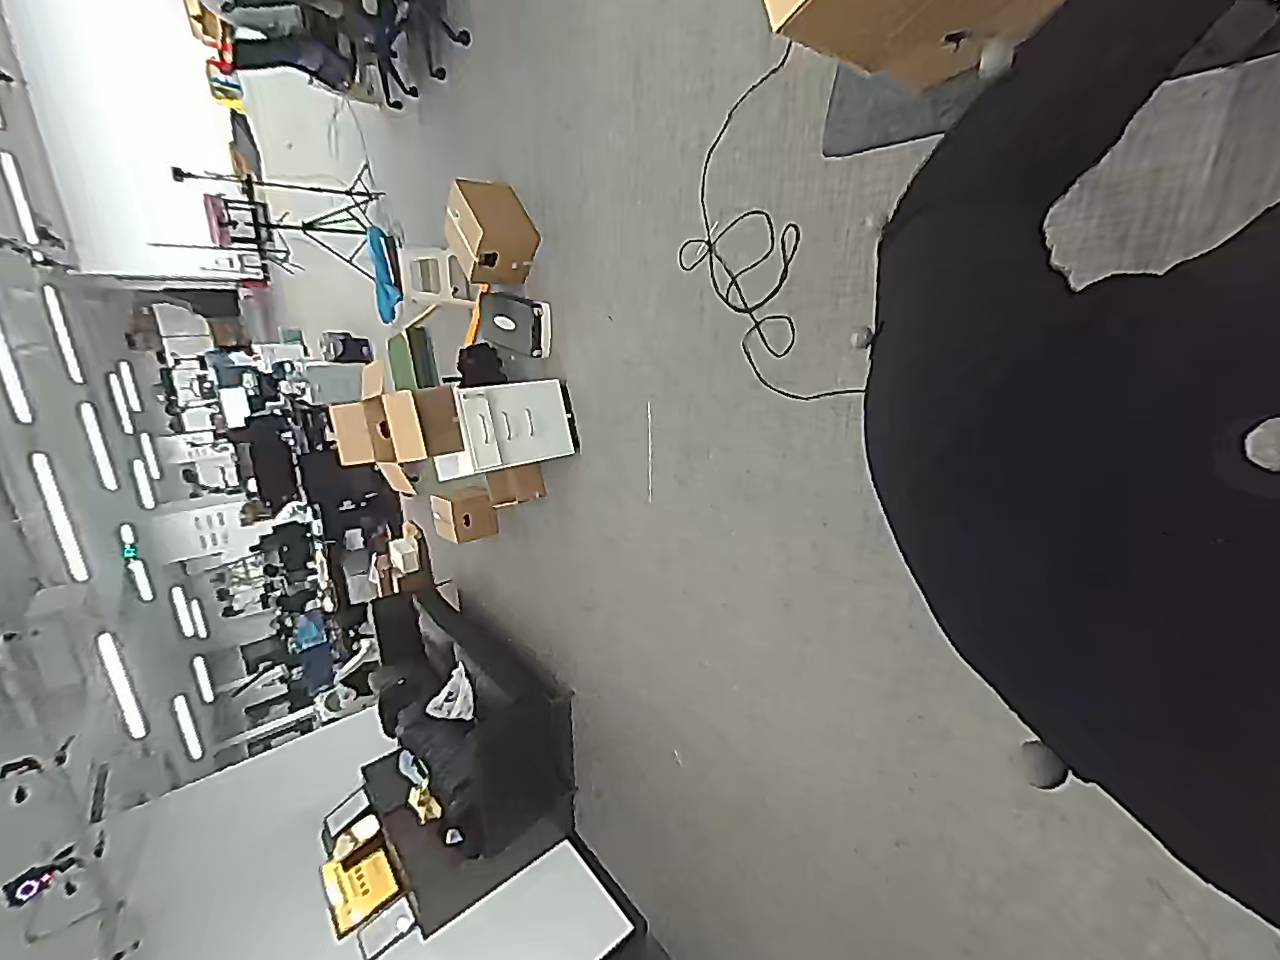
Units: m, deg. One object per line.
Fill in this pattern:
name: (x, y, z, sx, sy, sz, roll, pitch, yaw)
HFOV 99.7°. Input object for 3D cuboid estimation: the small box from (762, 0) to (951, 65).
small box: (0.210, -0.512, 0.467, 0.179, 0.176, 0.168, -15, 90, 52)

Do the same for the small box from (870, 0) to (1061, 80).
small box: (0.333, -0.561, 0.563, 0.179, 0.176, 0.168, 5, 106, 52)
